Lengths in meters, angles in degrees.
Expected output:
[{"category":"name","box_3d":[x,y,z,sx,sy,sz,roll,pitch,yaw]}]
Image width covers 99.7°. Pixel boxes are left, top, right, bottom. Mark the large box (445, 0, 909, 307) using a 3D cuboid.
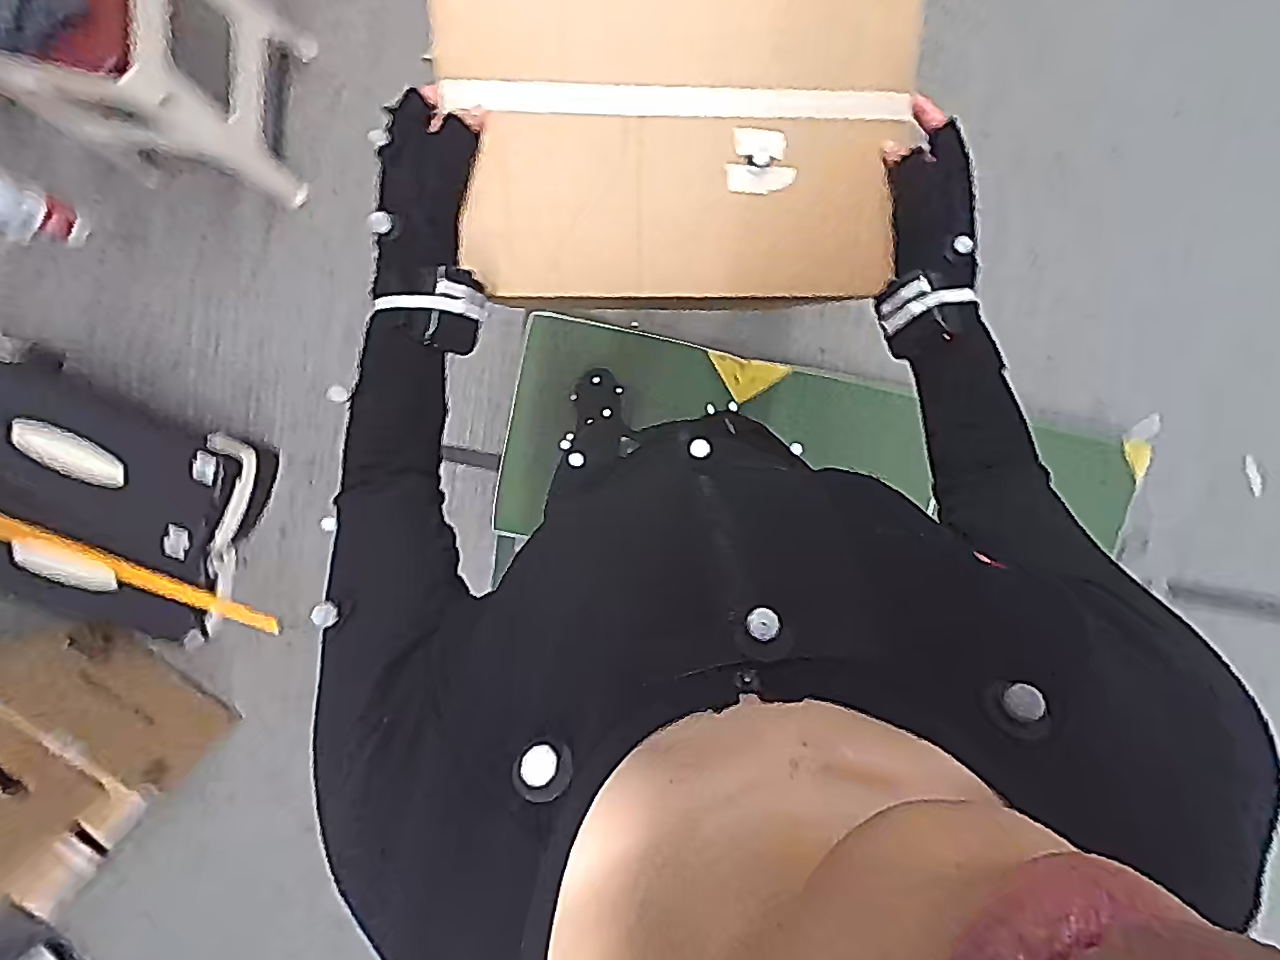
[{"category":"large box","box_3d":[0.022,-0.370,0.619,0.408,0.320,0.320,-1,106,-6]}]
